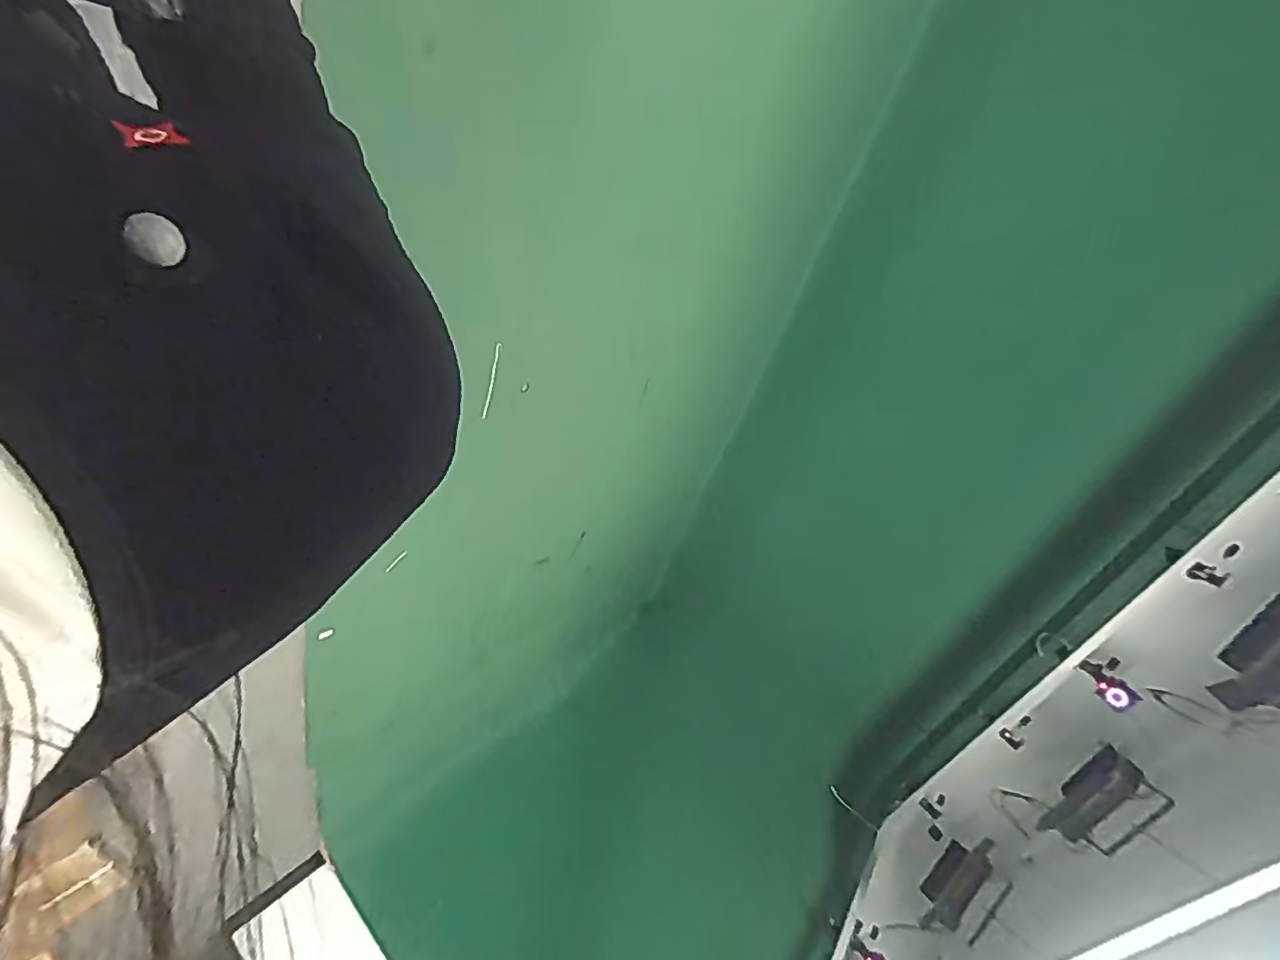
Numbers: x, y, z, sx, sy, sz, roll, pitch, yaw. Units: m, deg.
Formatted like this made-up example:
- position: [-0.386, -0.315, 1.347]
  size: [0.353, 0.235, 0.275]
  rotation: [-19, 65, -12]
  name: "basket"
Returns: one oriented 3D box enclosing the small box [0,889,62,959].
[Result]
- position: [-1.550, 1.151, 1.299]
  size: [0.179, 0.176, 0.168]
  rotation: [-26, 143, -49]
  name: "small box"
